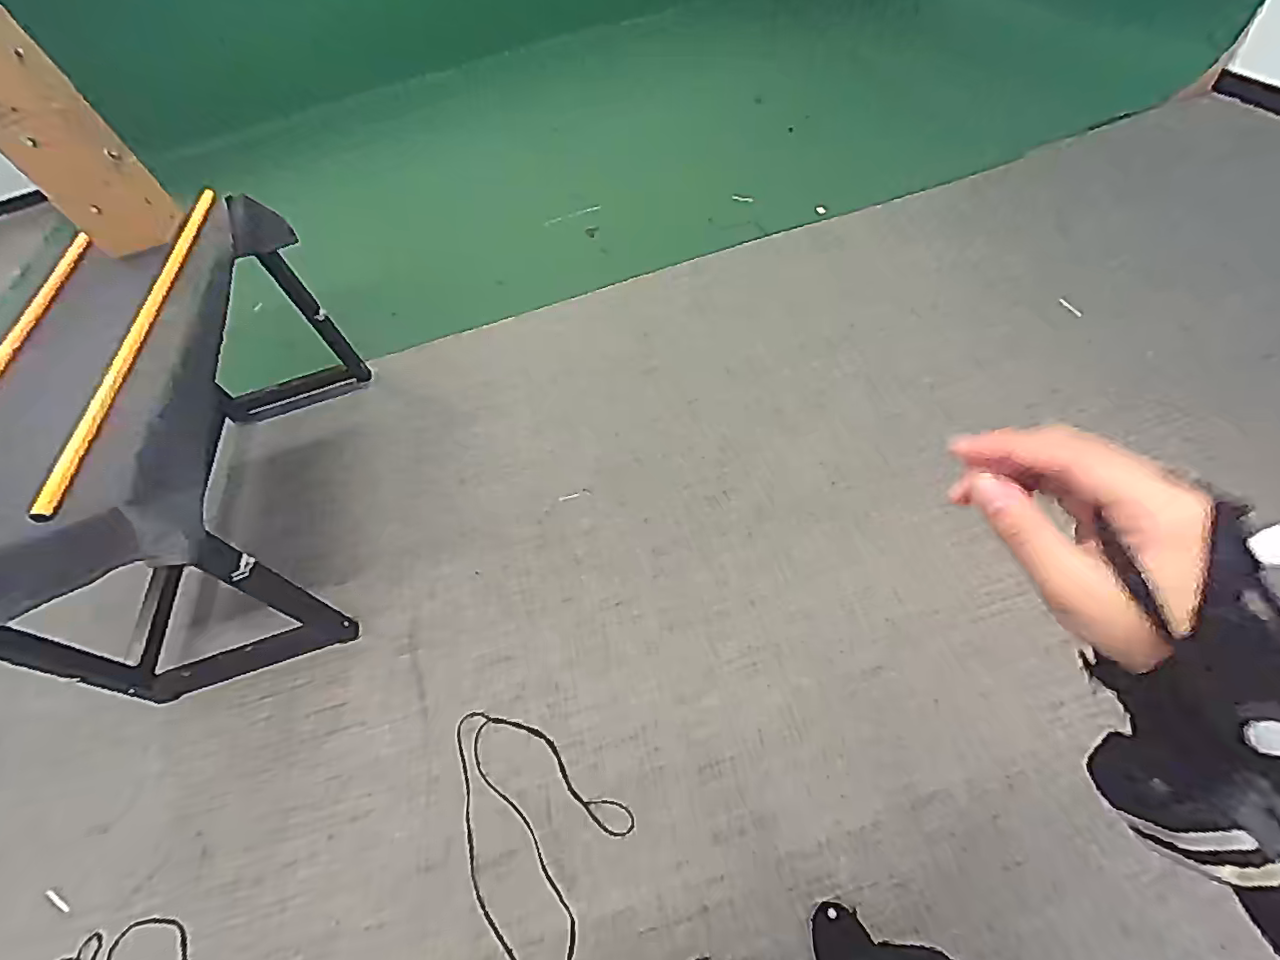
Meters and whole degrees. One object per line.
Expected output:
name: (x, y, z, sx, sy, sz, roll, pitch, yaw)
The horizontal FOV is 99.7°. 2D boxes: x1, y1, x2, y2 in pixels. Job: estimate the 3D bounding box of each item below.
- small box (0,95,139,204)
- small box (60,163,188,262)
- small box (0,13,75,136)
small box: (-1.458, -0.840, 1.385, 0.179, 0.176, 0.168, -18, 55, -2)
small box: (-1.427, -0.744, 1.512, 0.179, 0.176, 0.168, -17, 54, 0)
small box: (-1.484, -0.934, 1.252, 0.168, 0.176, 0.179, -19, 56, -1)
